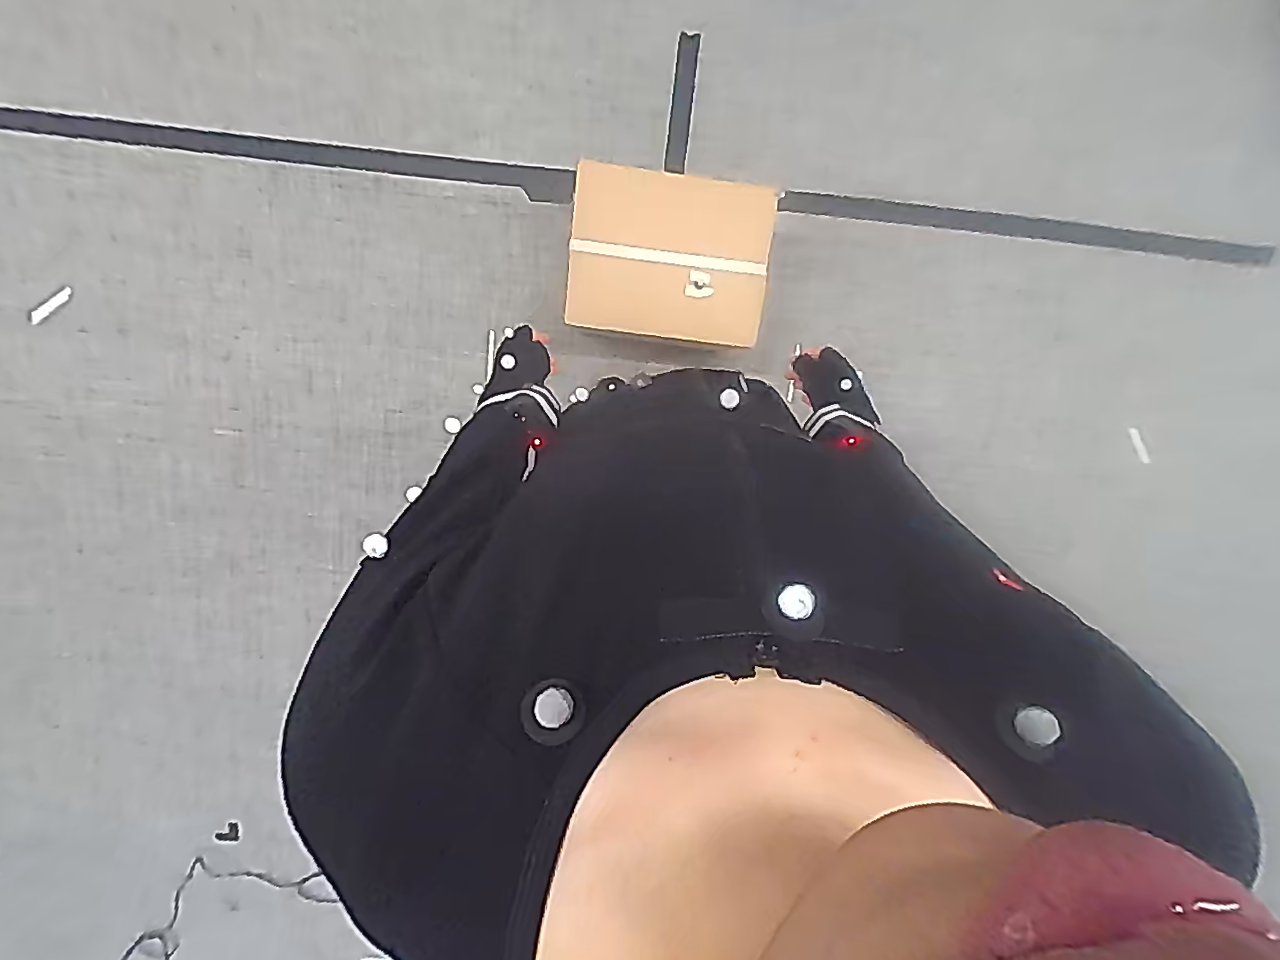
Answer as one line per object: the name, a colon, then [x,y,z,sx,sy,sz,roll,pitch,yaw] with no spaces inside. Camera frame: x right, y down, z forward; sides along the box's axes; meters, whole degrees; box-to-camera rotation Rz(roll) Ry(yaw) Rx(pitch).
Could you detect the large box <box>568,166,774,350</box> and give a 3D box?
large box: [0.050,-0.481,1.247,0.408,0.320,0.320,6,102,-5]
